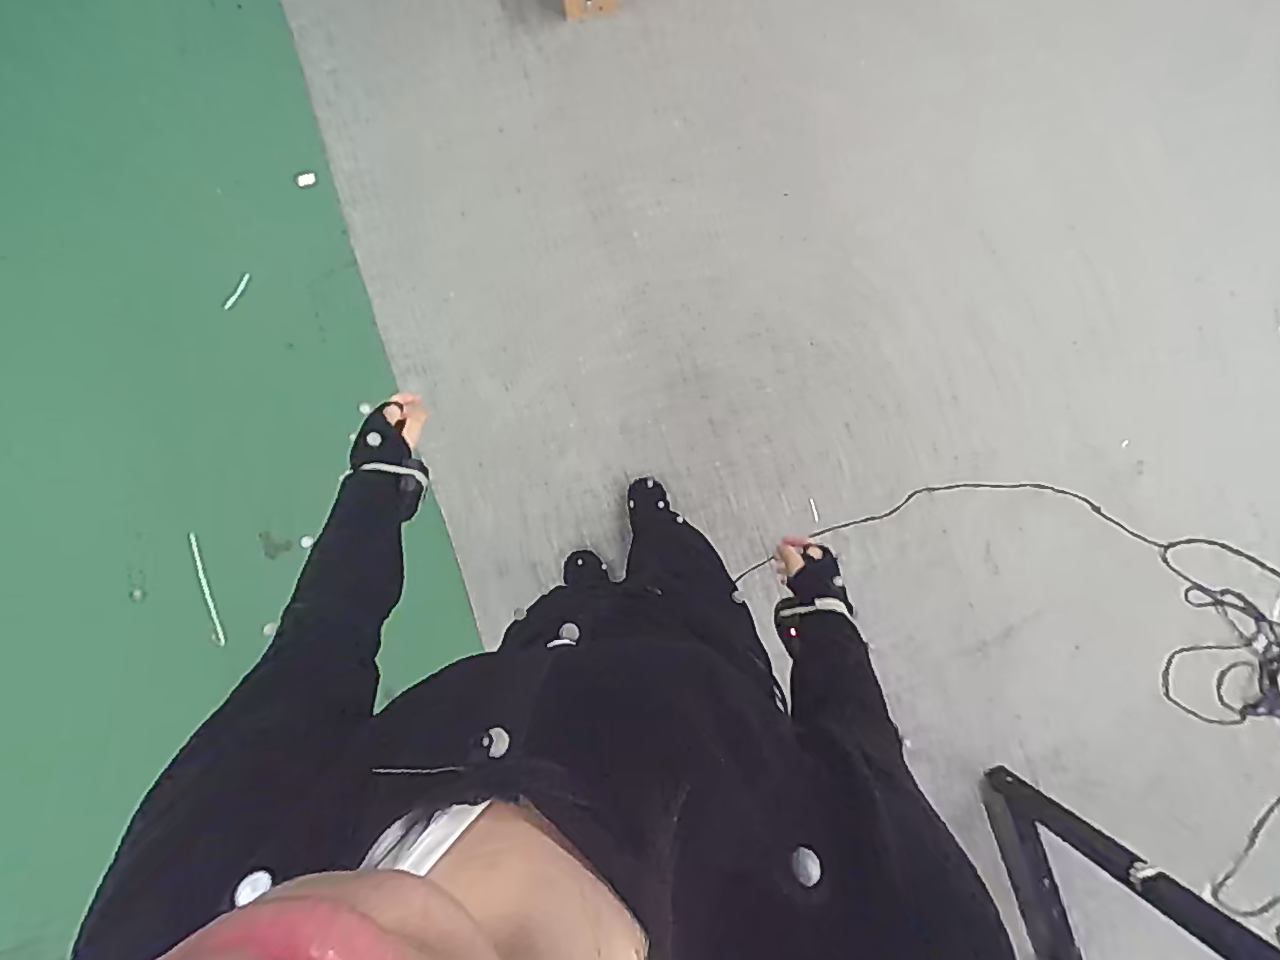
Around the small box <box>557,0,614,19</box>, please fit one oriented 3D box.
[{"bbox_3d":[-0.169,-1.460,1.521,0.168,0.176,0.179,-13,88,-4],"label":"small box"}]
